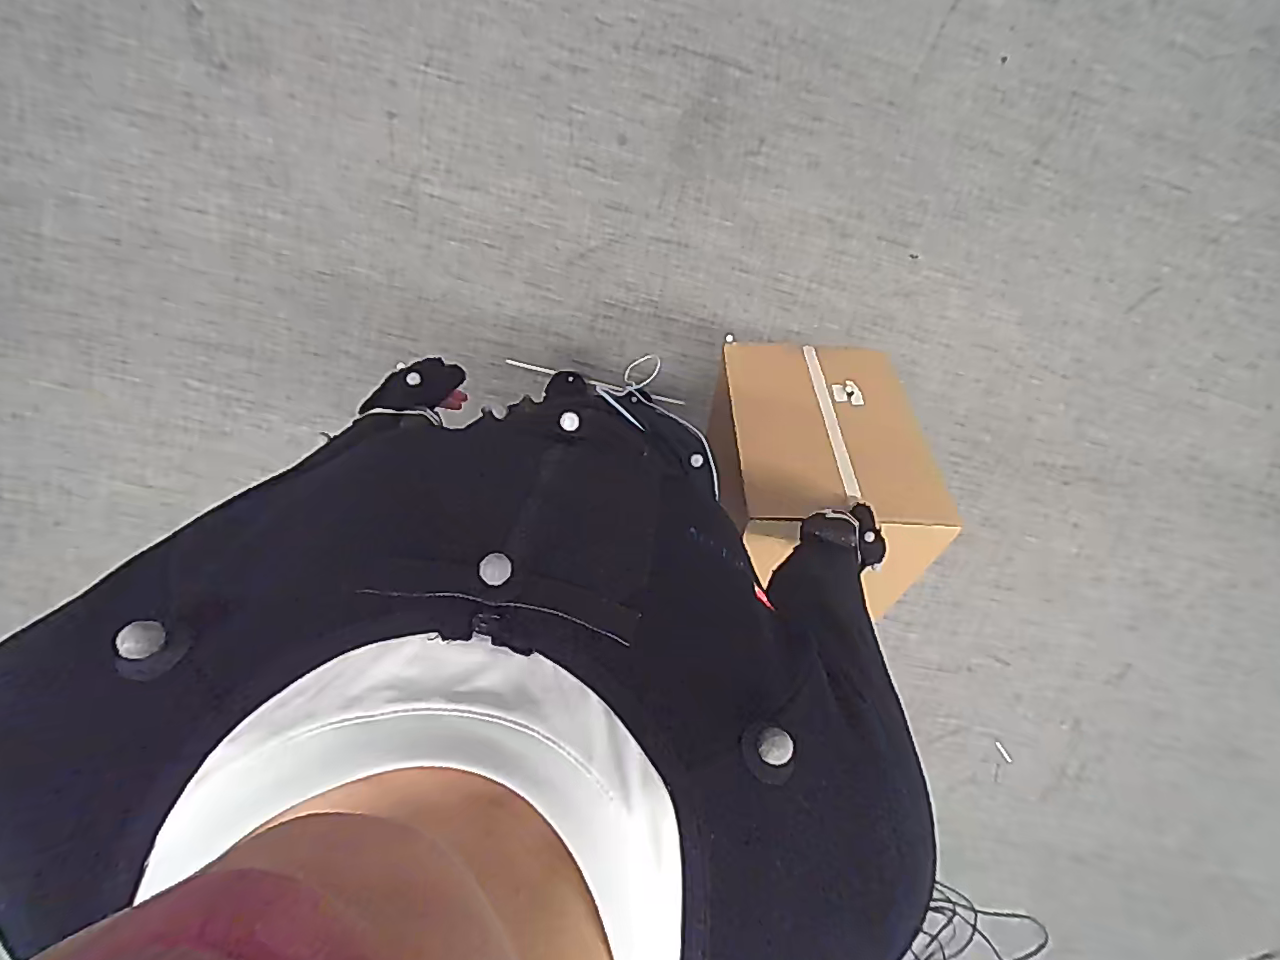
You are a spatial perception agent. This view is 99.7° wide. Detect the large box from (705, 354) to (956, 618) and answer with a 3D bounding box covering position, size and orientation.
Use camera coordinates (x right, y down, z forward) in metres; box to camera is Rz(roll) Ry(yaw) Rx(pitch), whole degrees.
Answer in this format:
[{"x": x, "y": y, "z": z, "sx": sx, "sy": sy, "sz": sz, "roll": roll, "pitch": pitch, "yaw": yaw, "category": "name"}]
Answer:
[{"x": 0.305, "y": 0.013, "z": 1.020, "sx": 0.320, "sy": 0.408, "sz": 0.320, "roll": 3, "pitch": 140, "yaw": -2, "category": "large box"}]
